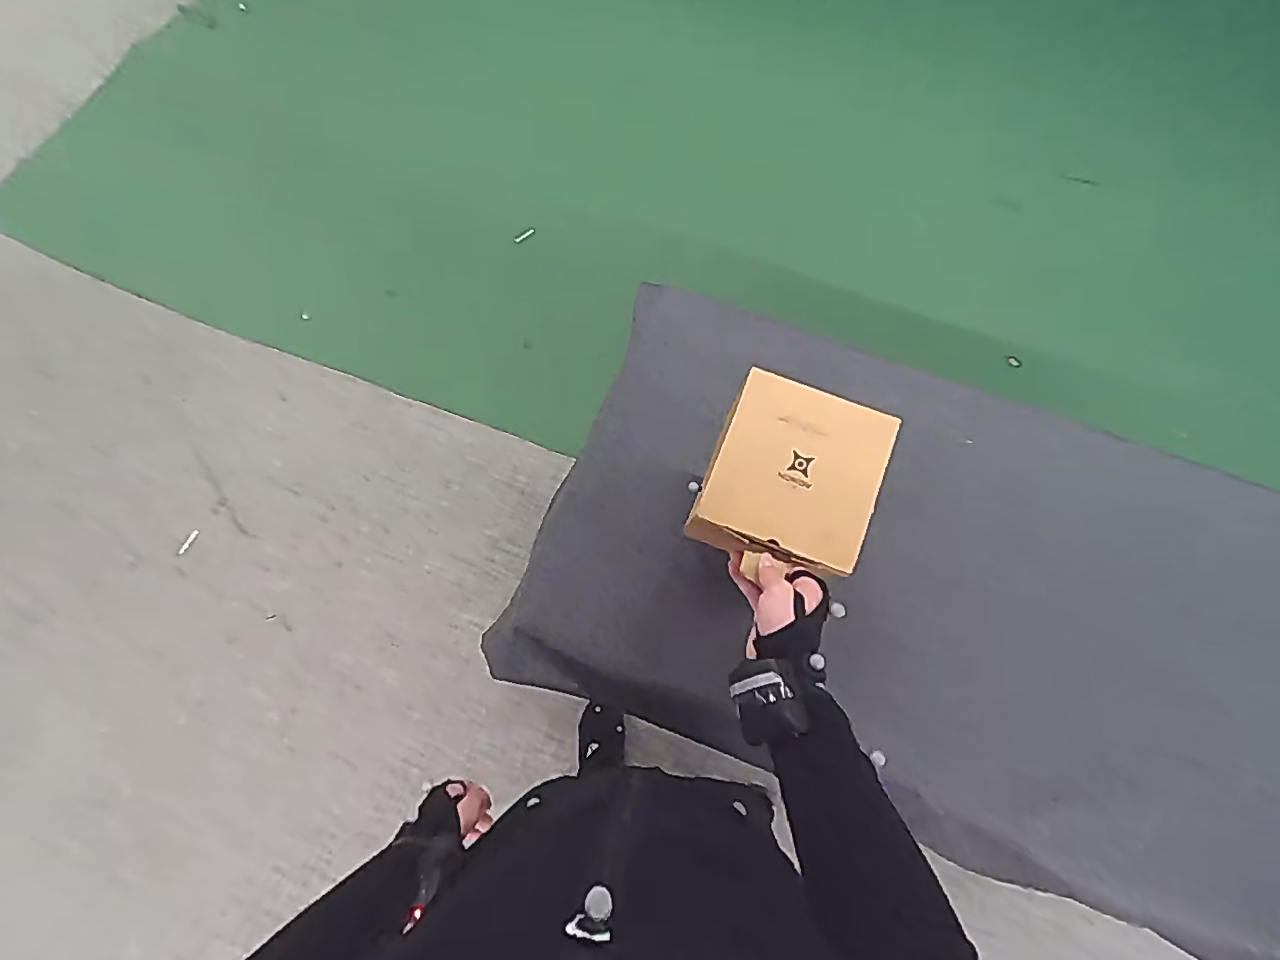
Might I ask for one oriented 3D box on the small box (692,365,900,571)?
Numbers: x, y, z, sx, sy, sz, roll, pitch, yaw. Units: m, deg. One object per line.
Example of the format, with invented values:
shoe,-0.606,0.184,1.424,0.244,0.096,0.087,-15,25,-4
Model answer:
small box,0.167,-0.001,0.635,0.168,0.176,0.179,22,79,4
